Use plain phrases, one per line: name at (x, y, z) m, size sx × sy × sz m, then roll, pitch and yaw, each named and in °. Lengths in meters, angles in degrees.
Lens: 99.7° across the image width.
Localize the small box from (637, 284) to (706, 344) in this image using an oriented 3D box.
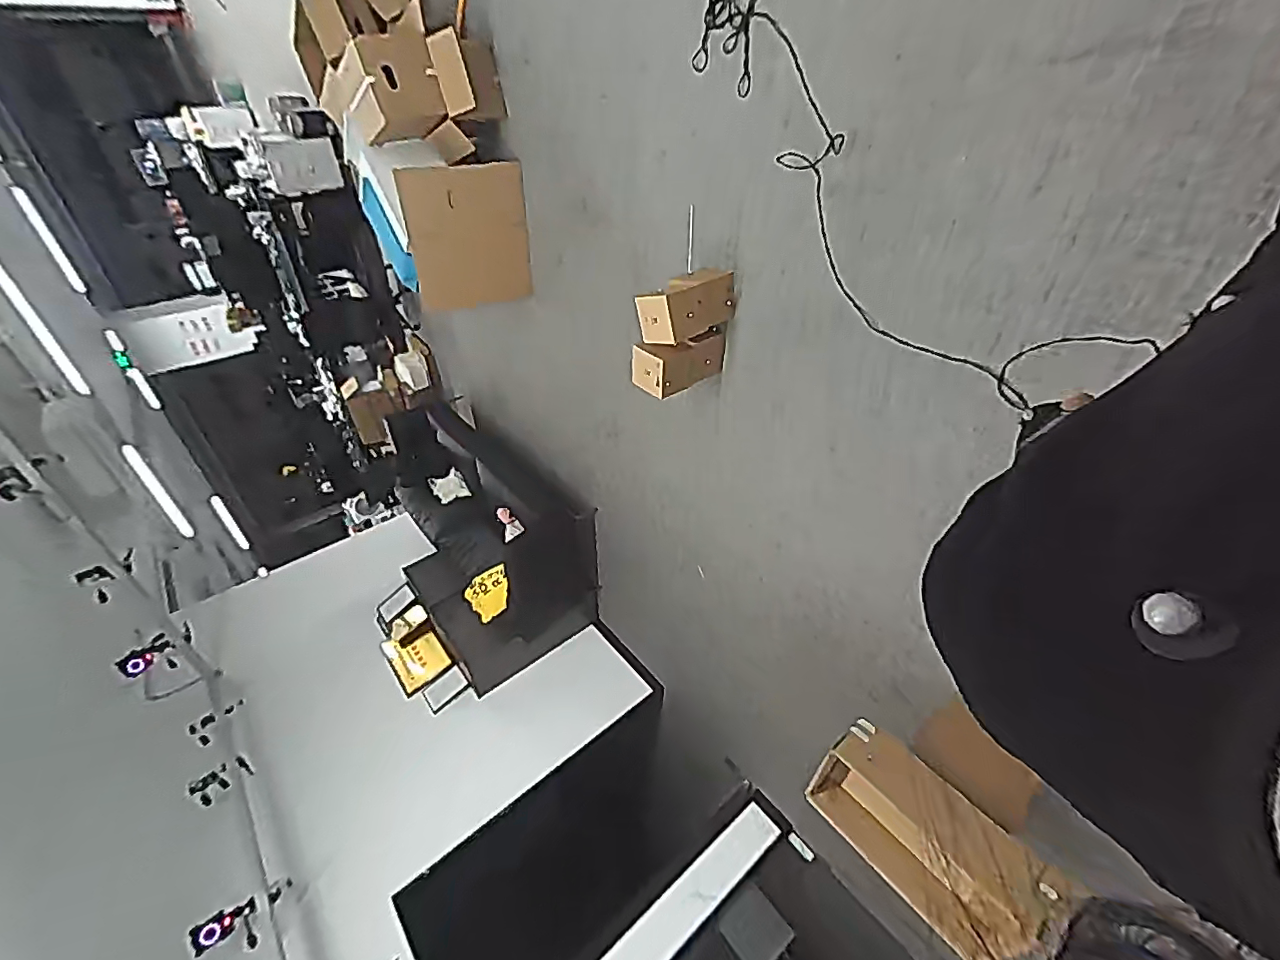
small box at (0.118, -0.589, 1.916) m, size 0.179 × 0.176 × 0.168 m, roll 21°, pitch 131°, yaw 50°

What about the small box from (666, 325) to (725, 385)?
small box at (0.222, -0.510, 2.147) m, size 0.168 × 0.176 × 0.179 m, roll 37°, pitch 143°, yaw 38°
